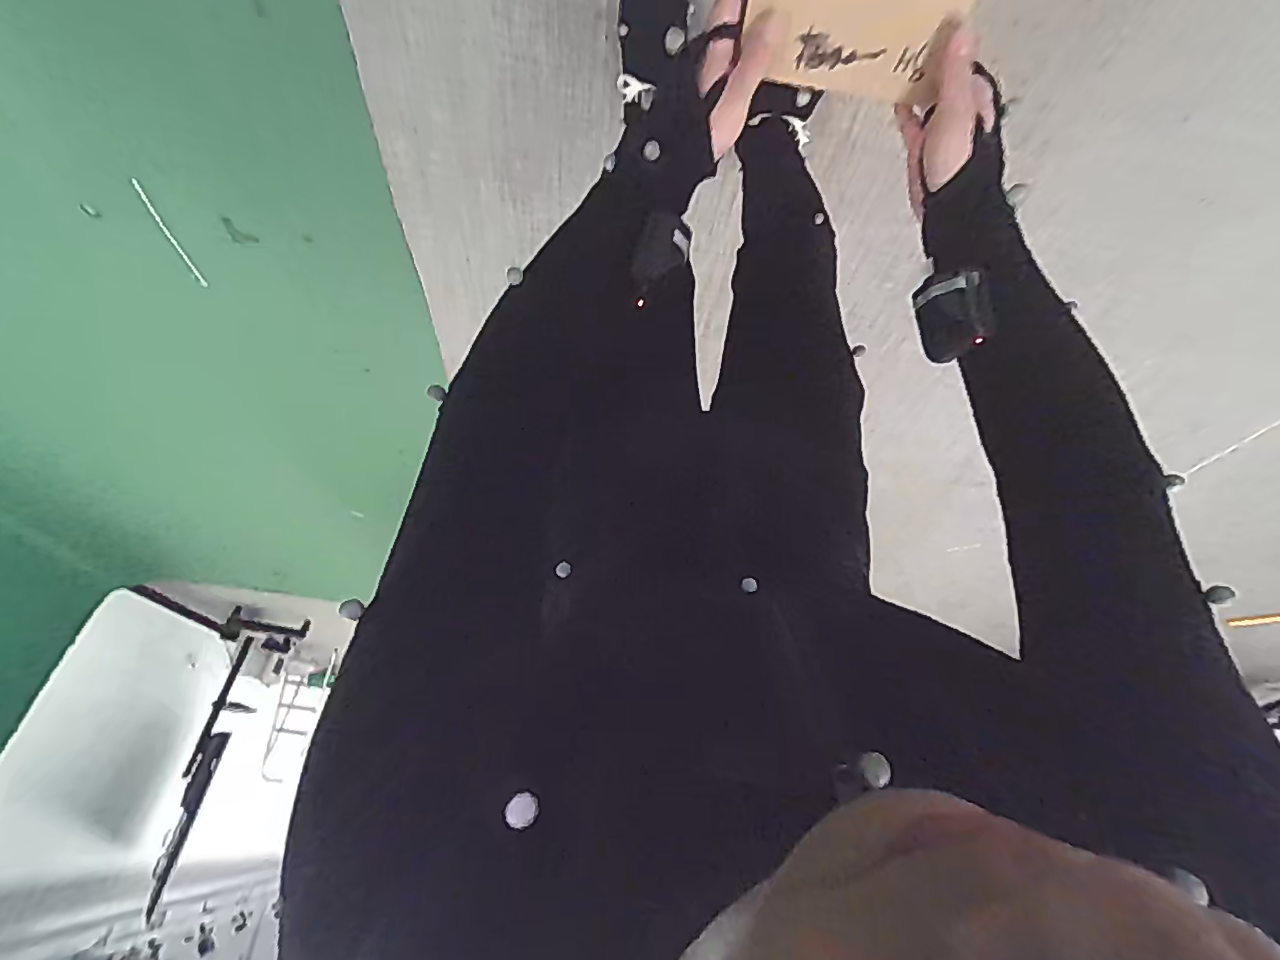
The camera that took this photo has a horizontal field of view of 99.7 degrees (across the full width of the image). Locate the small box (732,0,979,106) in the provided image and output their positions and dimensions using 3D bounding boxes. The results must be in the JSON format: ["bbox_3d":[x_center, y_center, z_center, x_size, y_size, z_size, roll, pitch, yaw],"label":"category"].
[{"bbox_3d":[0.176,-0.433,0.438,0.168,0.176,0.179,9,132,-3],"label":"small box"}]
